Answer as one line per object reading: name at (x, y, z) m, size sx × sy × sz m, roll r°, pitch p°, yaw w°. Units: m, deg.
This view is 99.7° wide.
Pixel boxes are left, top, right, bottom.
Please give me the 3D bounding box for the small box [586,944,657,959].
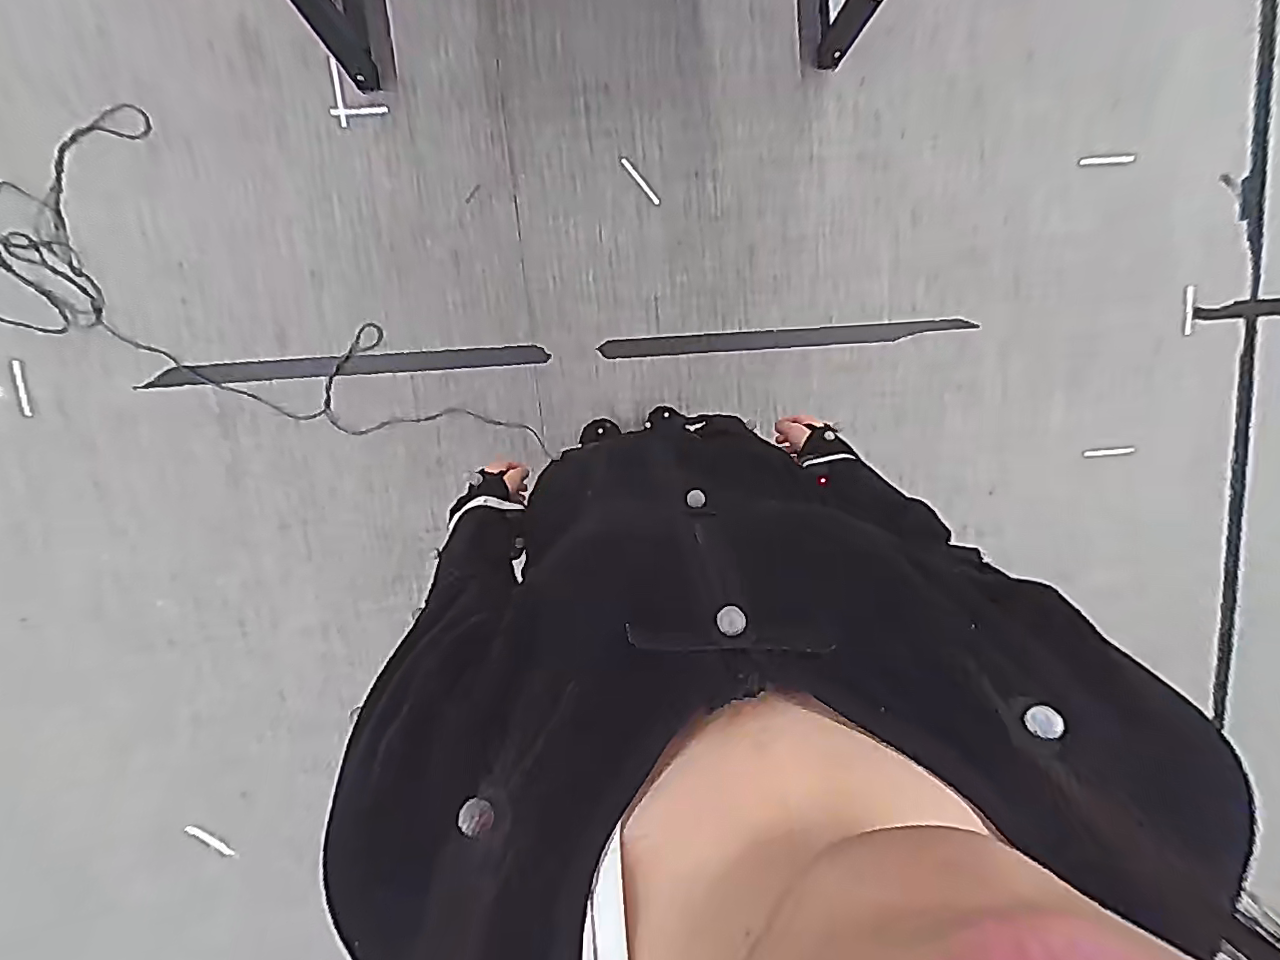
small box at (-0.036, 1.257, 1.286) m, size 0.179 × 0.176 × 0.168 m, roll -6°, pitch 97°, yaw -2°
